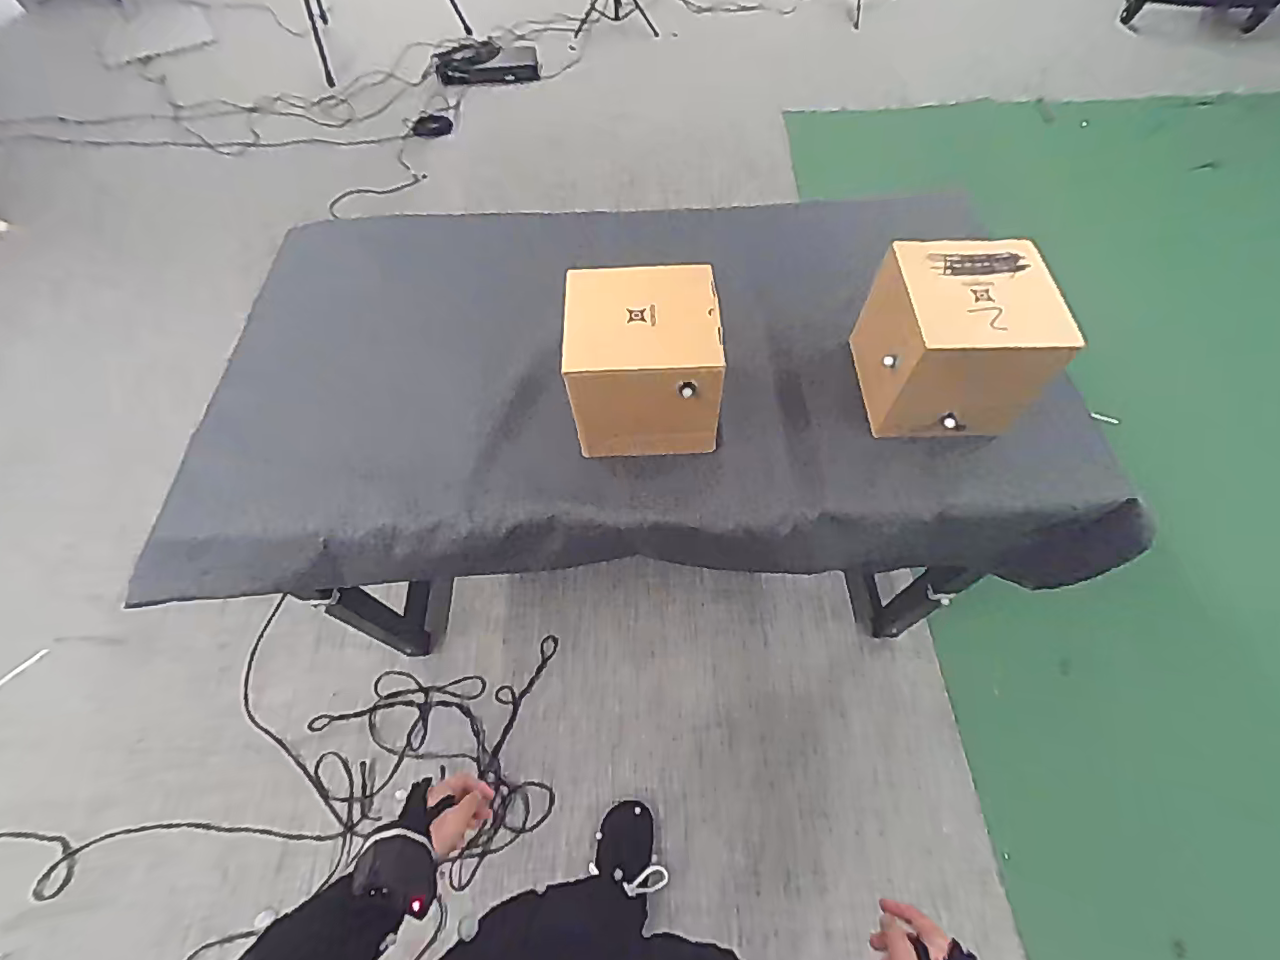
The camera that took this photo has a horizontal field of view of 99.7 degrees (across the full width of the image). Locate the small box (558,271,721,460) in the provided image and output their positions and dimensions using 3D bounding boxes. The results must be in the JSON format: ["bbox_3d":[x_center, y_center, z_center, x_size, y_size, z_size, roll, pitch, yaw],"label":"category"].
[{"bbox_3d":[0.000,-0.136,0.677,0.179,0.176,0.168,-2,59,0],"label":"small box"}]
